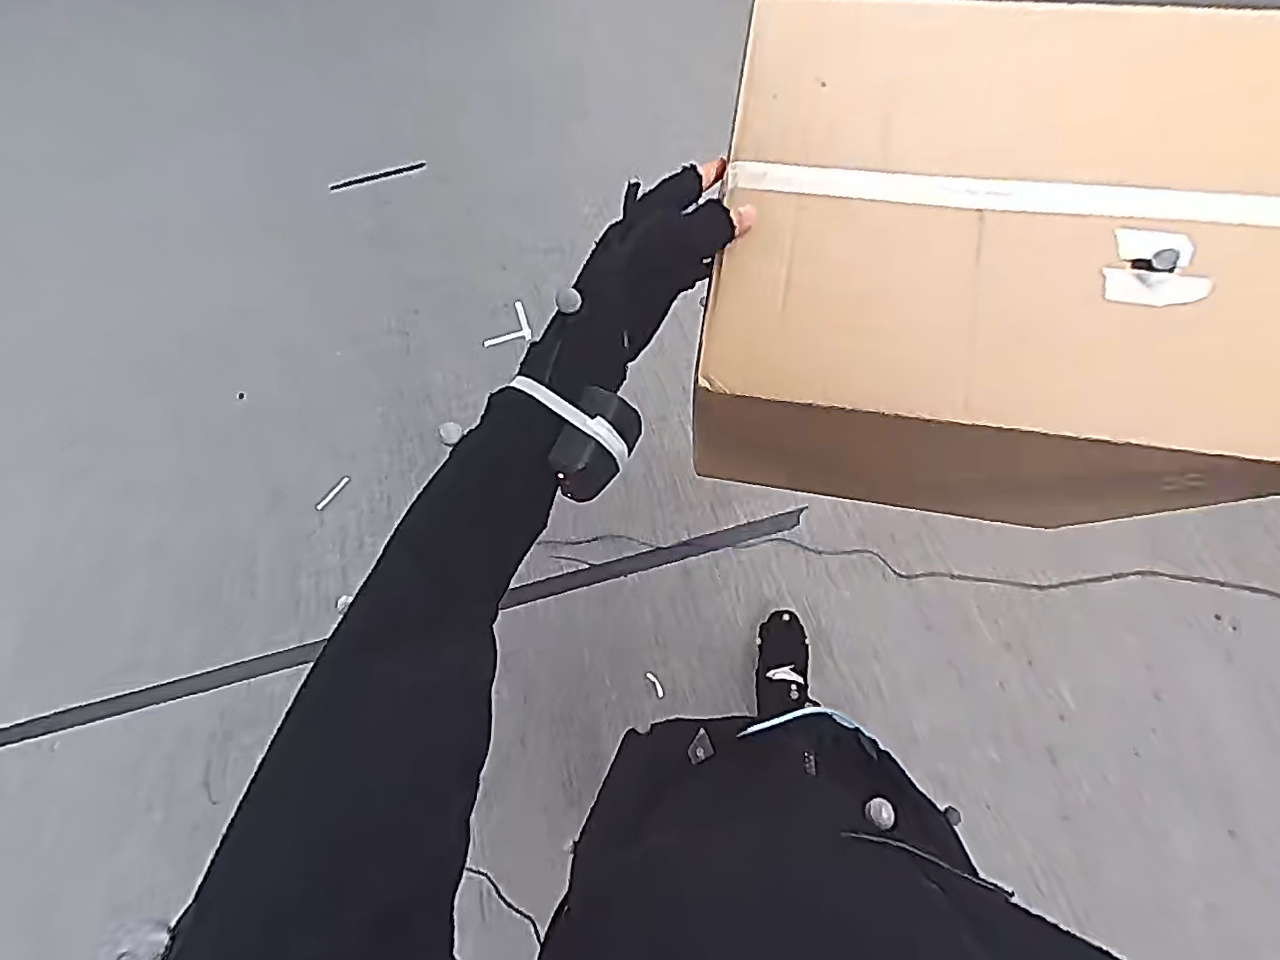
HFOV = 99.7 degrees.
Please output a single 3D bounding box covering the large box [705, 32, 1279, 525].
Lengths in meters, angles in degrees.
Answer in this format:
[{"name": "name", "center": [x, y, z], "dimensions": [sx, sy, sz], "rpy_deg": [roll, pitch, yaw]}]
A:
[{"name": "large box", "center": [0.281, -0.147, 0.517], "dimensions": [0.408, 0.320, 0.320], "rpy_deg": [8, 82, 7]}]
